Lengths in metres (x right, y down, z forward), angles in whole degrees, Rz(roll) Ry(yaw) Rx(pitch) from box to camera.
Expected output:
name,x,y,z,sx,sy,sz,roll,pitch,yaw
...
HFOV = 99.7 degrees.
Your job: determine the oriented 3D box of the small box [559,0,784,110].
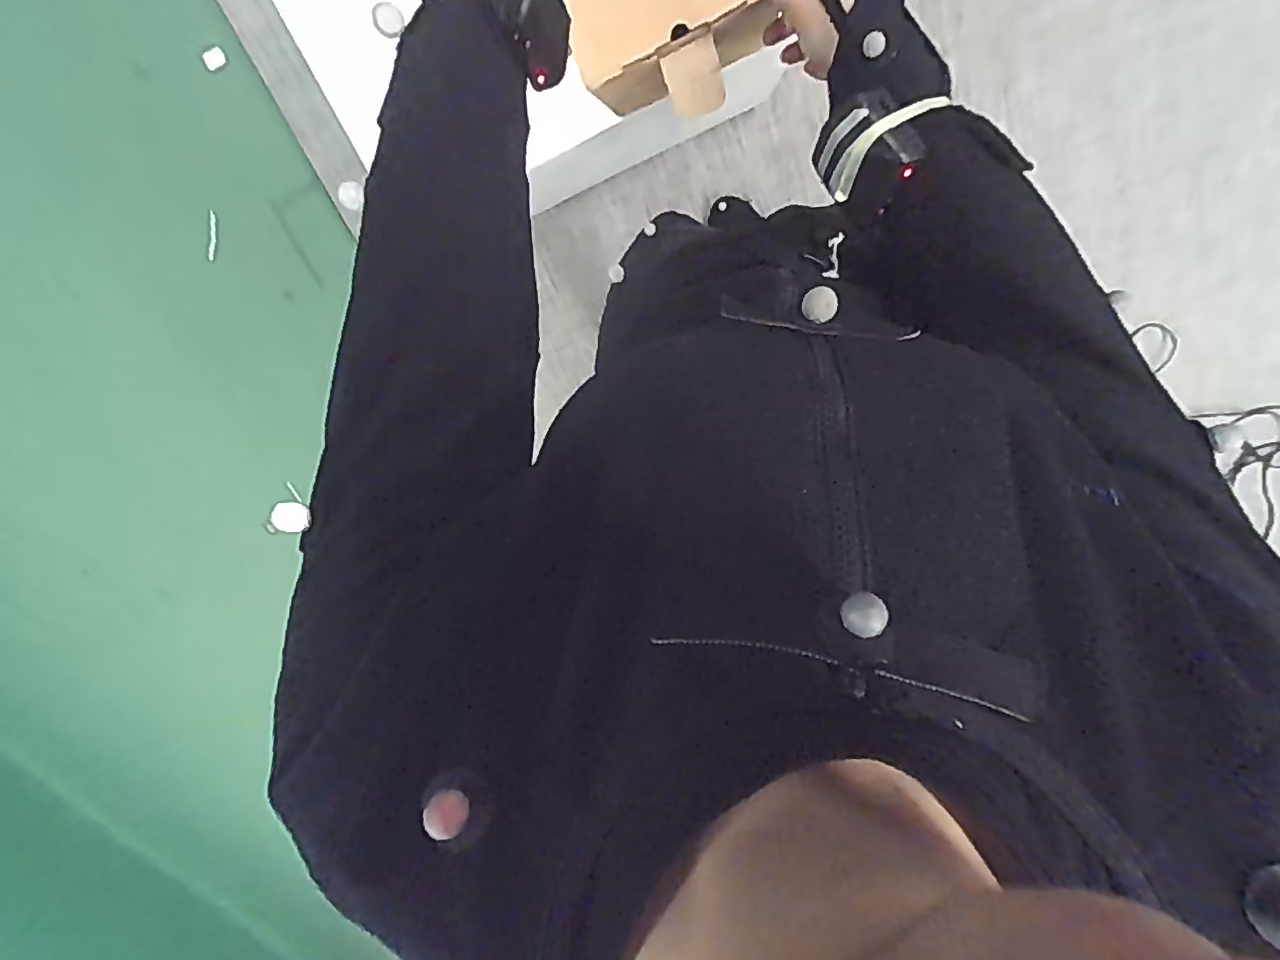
name,x,y,z,sx,sy,sz,roll,pitch,yaw
small box,0.013,-0.445,0.447,0.168,0.176,0.179,-17,114,16
